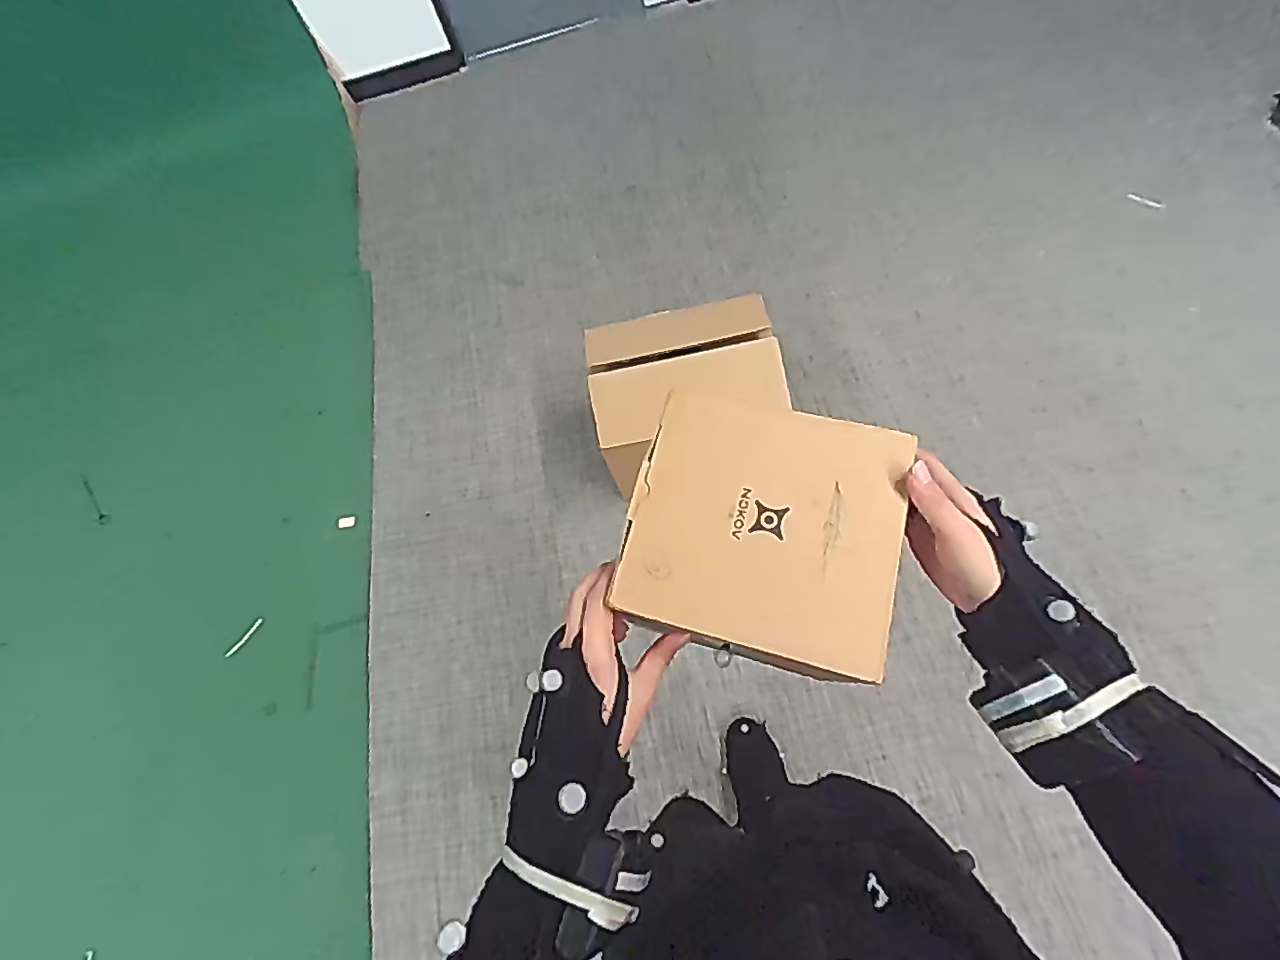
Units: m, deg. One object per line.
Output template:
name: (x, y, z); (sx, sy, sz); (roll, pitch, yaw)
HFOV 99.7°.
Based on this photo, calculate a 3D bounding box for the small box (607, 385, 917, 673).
small box: (0.091, 0.048, 0.431); (0.179, 0.176, 0.168); (13, 74, 11)
